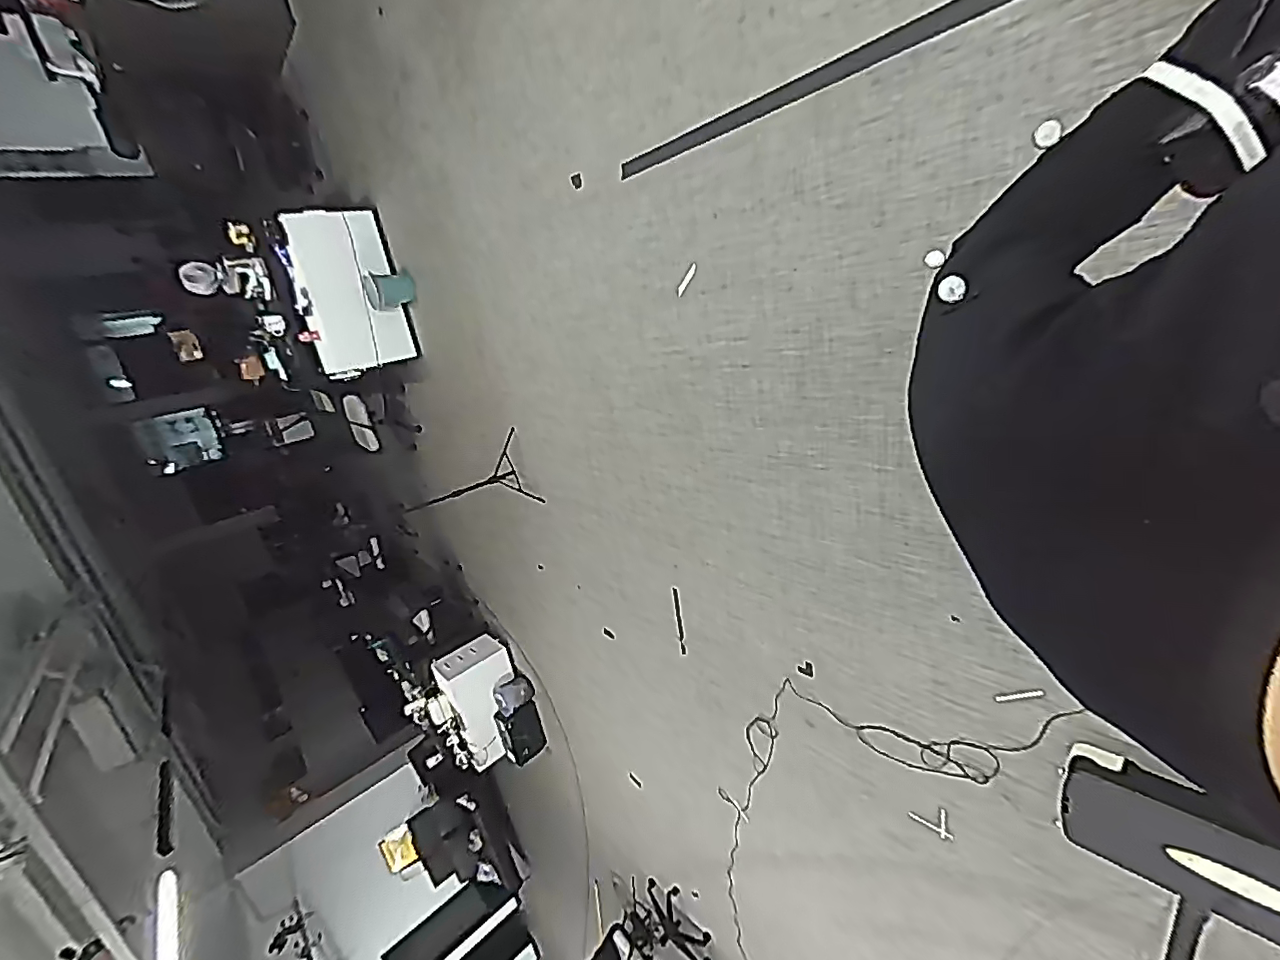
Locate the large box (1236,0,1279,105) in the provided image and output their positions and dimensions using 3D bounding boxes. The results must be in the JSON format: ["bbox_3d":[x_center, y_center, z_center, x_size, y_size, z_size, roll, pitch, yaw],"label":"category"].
[{"bbox_3d":[1.017,-0.706,0.636,0.408,0.320,0.320,9,117,47],"label":"large box"}]
